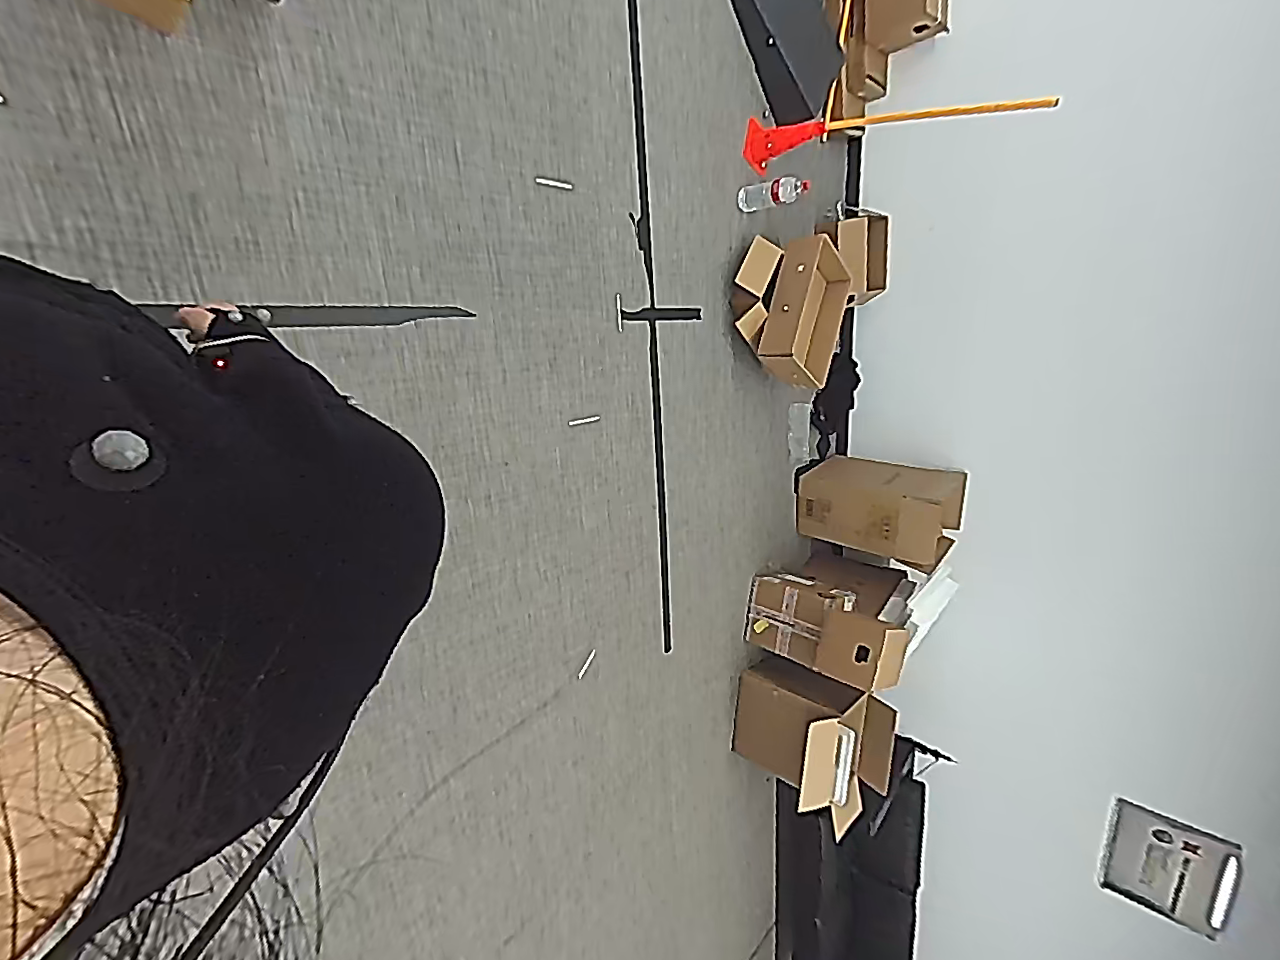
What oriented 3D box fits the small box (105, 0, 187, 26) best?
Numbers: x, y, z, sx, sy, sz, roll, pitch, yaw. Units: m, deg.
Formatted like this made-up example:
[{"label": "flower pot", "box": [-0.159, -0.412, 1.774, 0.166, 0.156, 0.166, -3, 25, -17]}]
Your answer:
[{"label": "small box", "box": [-0.920, -0.959, 0.957, 0.179, 0.176, 0.168, 5, 95, -47]}]
